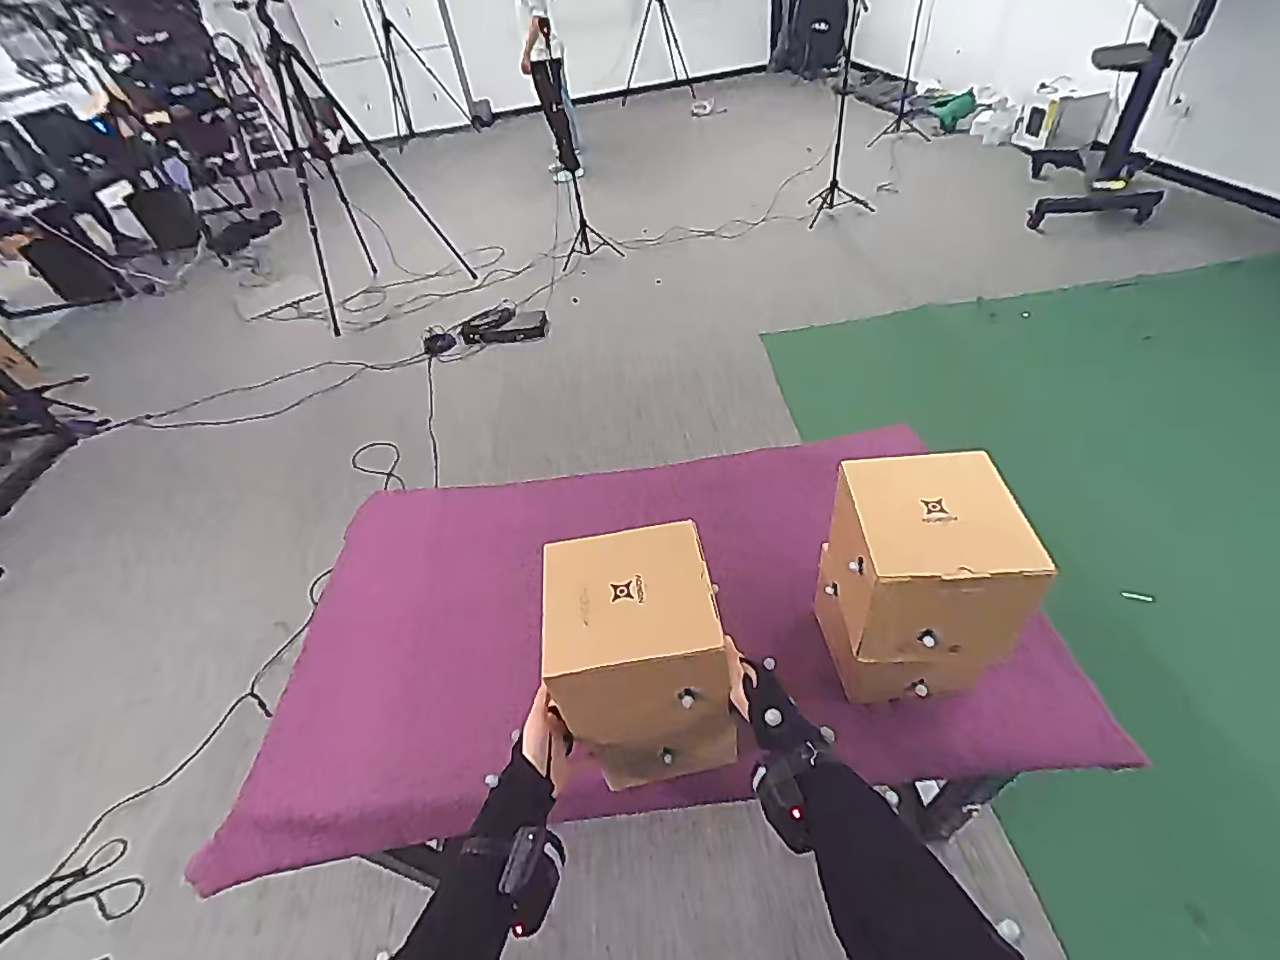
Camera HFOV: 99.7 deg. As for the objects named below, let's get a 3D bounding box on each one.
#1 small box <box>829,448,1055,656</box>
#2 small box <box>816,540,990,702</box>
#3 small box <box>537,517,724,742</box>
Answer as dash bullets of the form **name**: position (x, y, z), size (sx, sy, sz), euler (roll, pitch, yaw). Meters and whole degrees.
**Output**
- **small box**: position (0.326, 0.085, 0.632), size (0.168, 0.176, 0.179), euler (-4, 44, 8)
- **small box**: position (0.362, 0.187, 0.756), size (0.179, 0.176, 0.168), euler (-9, 41, 2)
- **small box**: position (-0.006, 0.168, 0.605), size (0.179, 0.176, 0.168), euler (-10, 41, 1)
